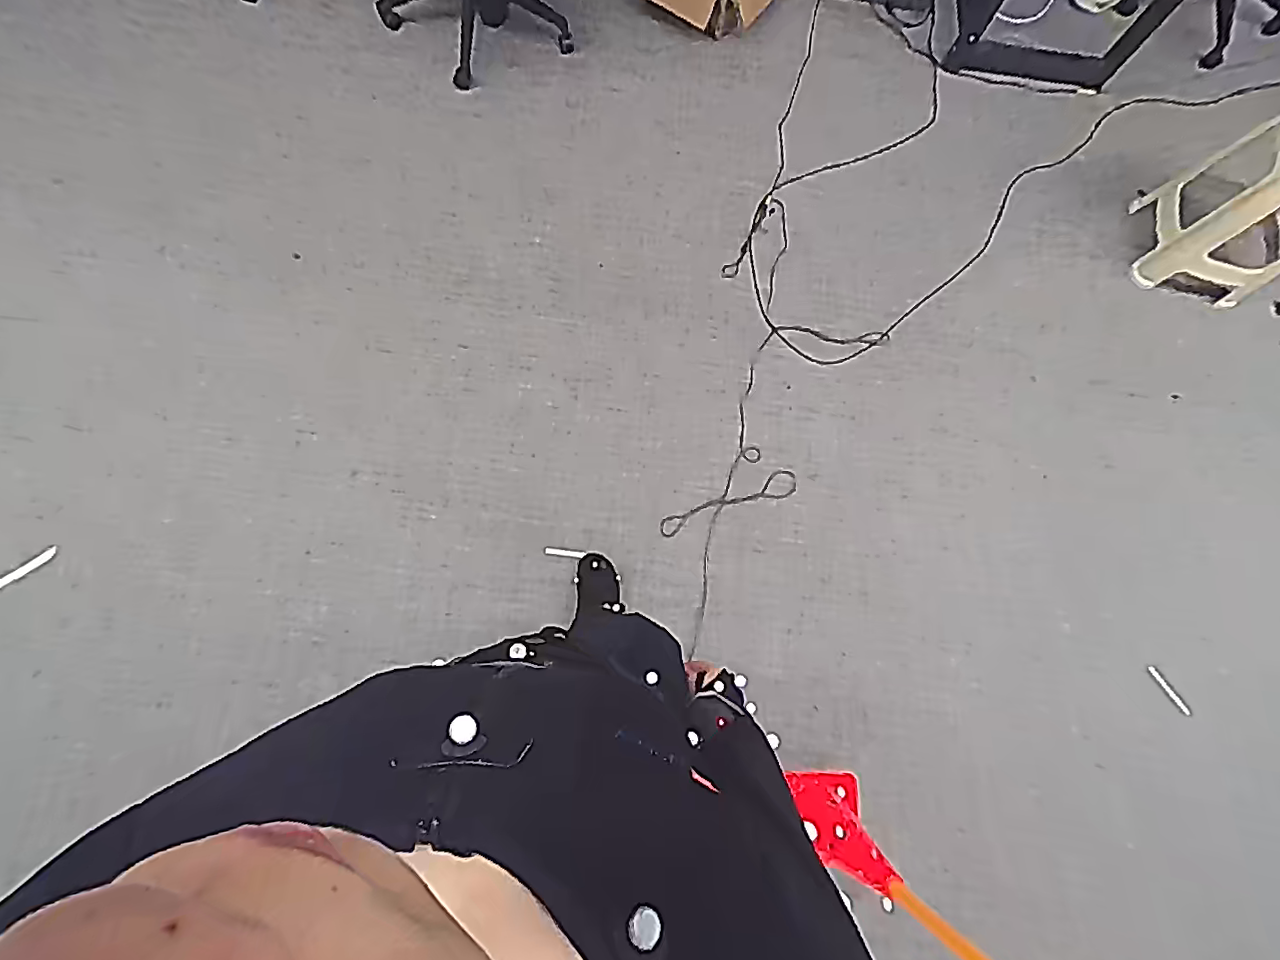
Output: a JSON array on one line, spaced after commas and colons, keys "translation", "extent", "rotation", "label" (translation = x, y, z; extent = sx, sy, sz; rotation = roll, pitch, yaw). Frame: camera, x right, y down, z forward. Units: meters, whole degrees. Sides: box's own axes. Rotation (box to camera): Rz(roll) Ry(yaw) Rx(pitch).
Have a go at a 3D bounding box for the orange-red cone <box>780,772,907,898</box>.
[{"translation": [0.435, 0.750, 1.104], "extent": [0.199, 0.360, 0.198], "rotation": [2, 75, -2], "label": "orange-red cone"}]
